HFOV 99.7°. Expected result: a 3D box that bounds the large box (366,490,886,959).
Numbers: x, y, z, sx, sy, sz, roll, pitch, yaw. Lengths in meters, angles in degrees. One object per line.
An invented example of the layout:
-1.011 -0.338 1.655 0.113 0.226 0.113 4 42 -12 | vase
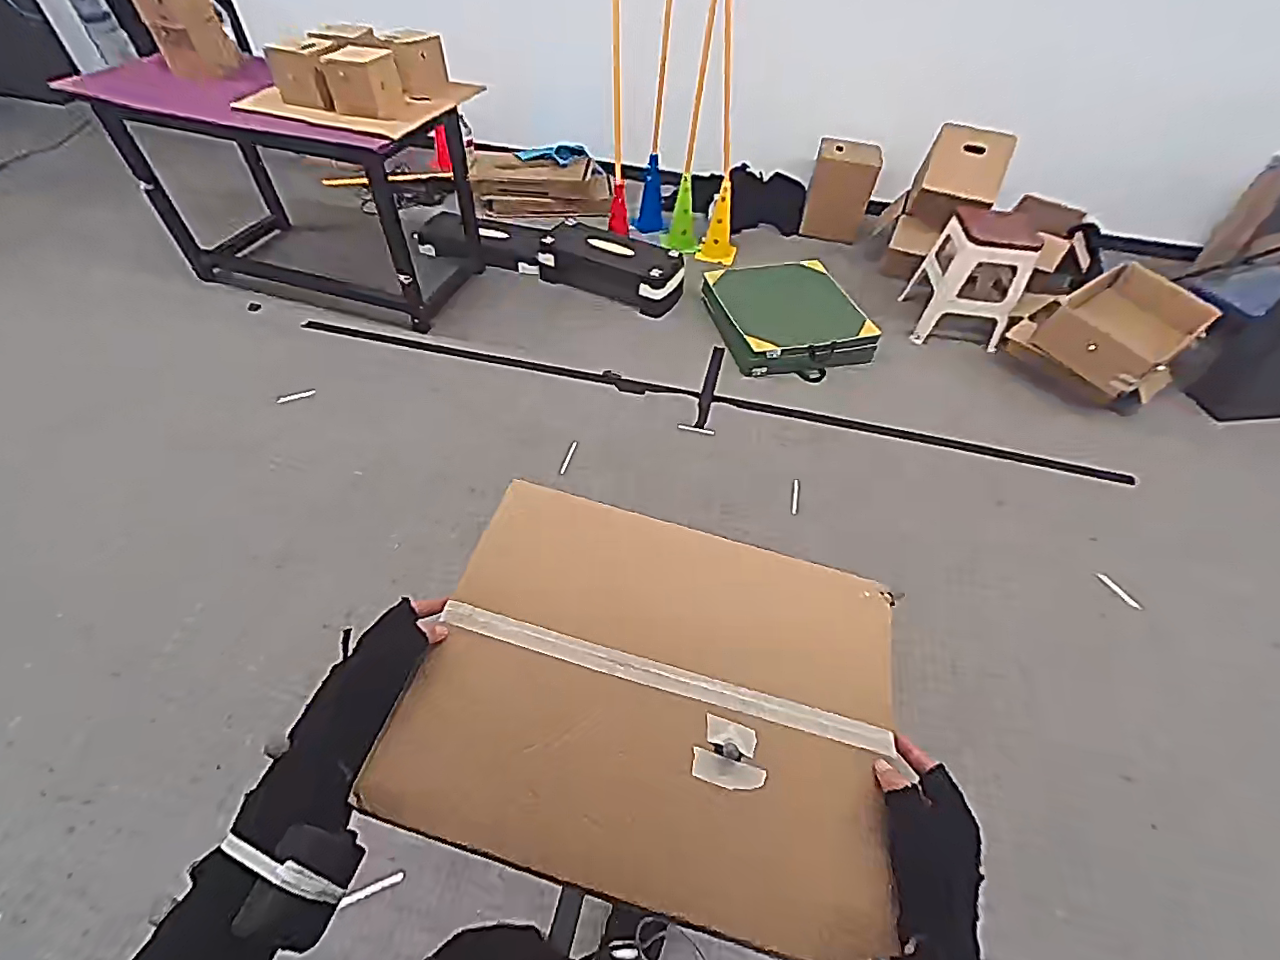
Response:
0.001 0.262 0.599 0.408 0.320 0.320 16 54 4 | large box
